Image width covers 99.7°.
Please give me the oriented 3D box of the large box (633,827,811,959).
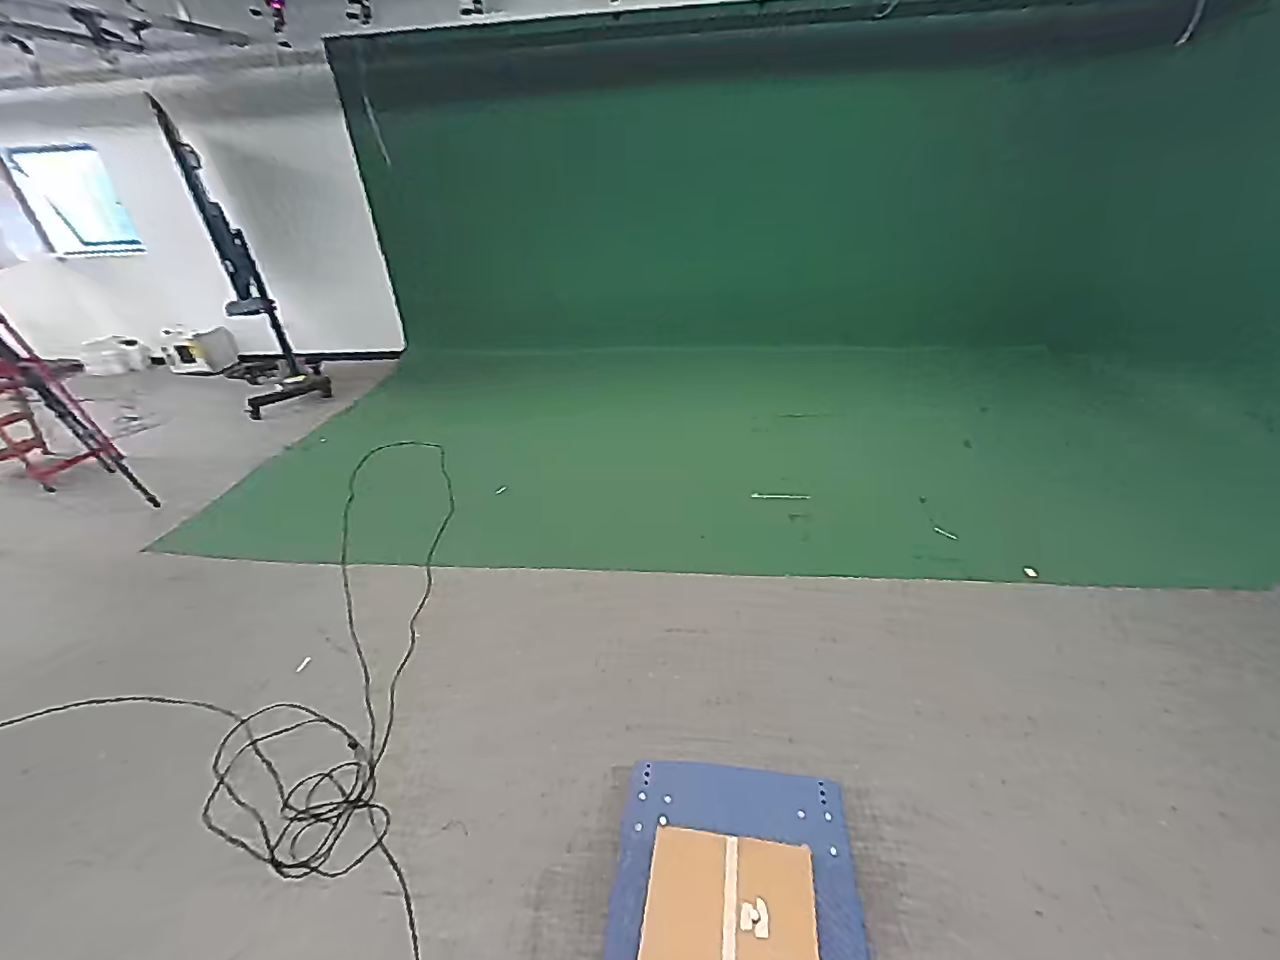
[{"bbox_3d":[0.153,0.967,1.025,0.320,0.320,0.408,3,31,10],"label":"large box"}]
